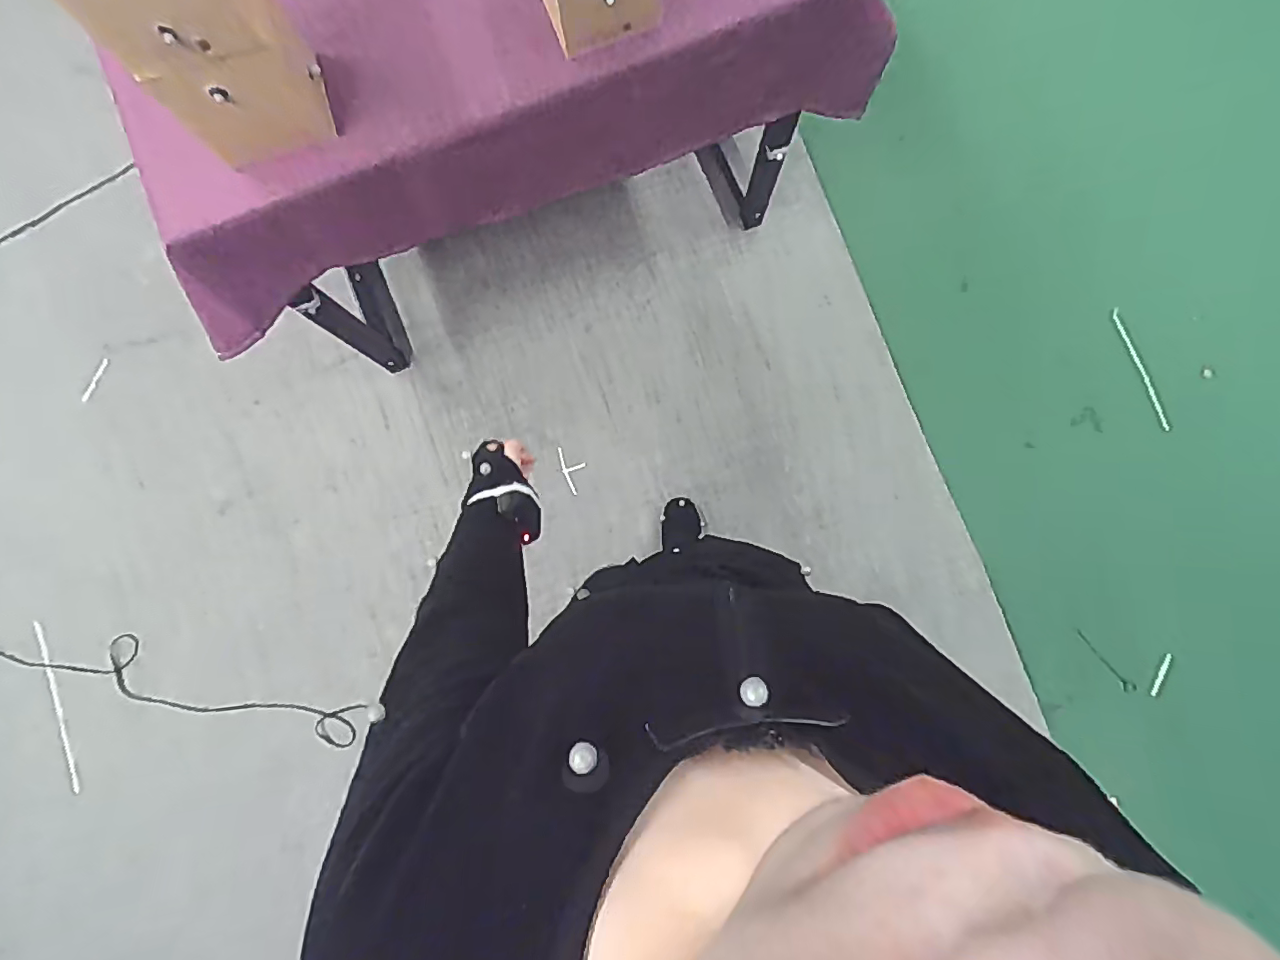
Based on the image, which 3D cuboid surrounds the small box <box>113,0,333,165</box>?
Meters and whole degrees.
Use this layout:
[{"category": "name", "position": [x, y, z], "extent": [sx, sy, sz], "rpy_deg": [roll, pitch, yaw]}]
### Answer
[{"category": "small box", "position": [-0.587, -0.595, 0.777], "extent": [0.179, 0.176, 0.168], "rpy_deg": [-19, 84, -2]}]

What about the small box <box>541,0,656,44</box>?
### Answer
[{"category": "small box", "position": [-0.076, -0.792, 0.793], "extent": [0.168, 0.176, 0.179], "rpy_deg": [-21, 84, -2]}]
